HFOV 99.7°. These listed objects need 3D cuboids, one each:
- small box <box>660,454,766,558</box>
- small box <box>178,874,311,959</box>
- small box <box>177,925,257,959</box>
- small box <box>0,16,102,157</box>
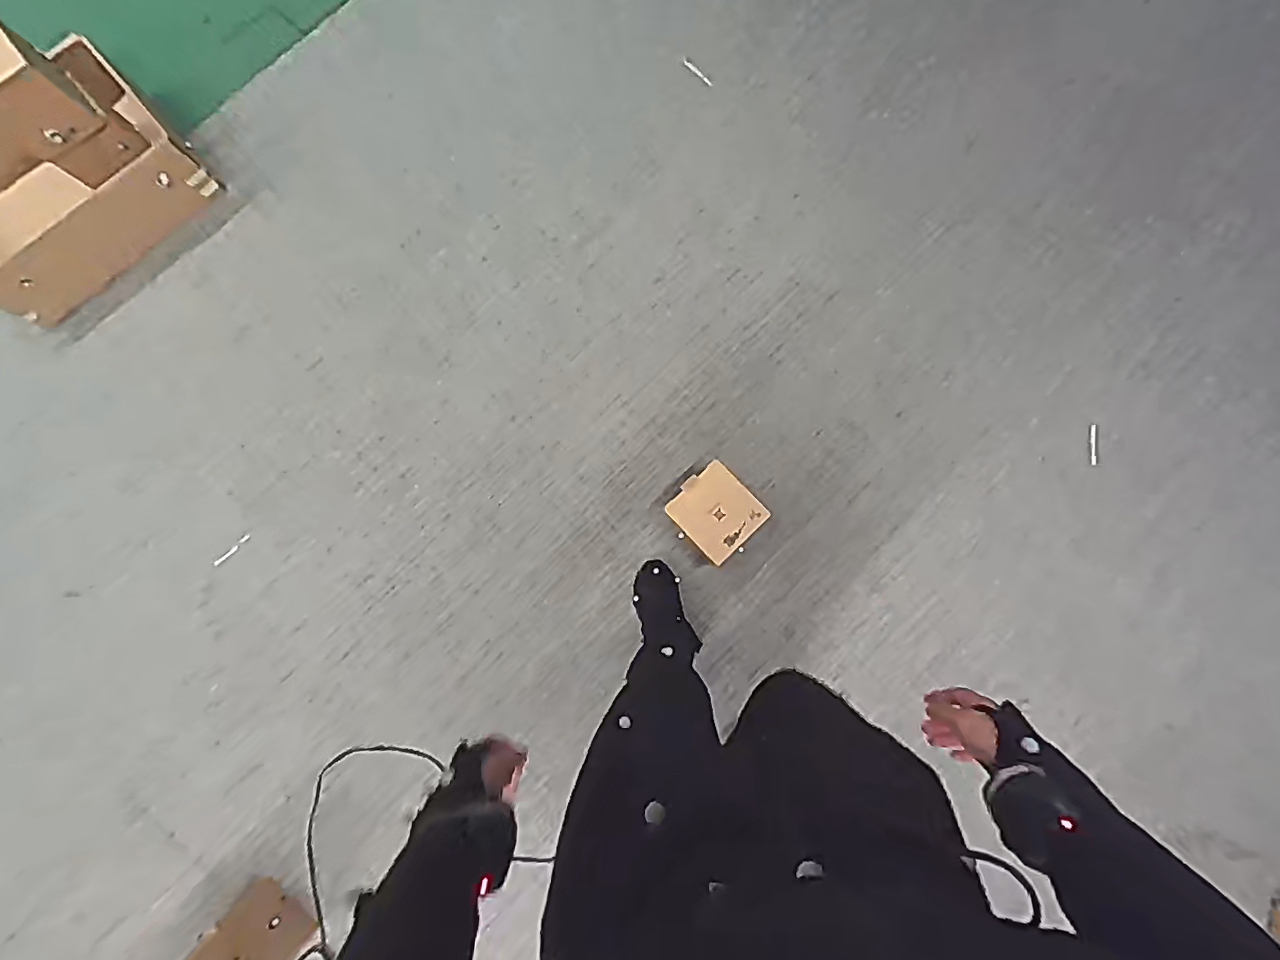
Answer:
[{"bbox_3d":[0.160,0.068,1.257,0.168,0.176,0.179,-43,83,-4],"label":"small box"},{"bbox_3d":[-0.851,1.006,1.157,0.168,0.176,0.179,38,85,6],"label":"small box"},{"bbox_3d":[-0.839,0.994,0.993,0.168,0.176,0.179,42,85,6],"label":"small box"},{"bbox_3d":[-1.386,-0.876,1.204,0.168,0.176,0.179,-40,85,-3],"label":"small box"}]
